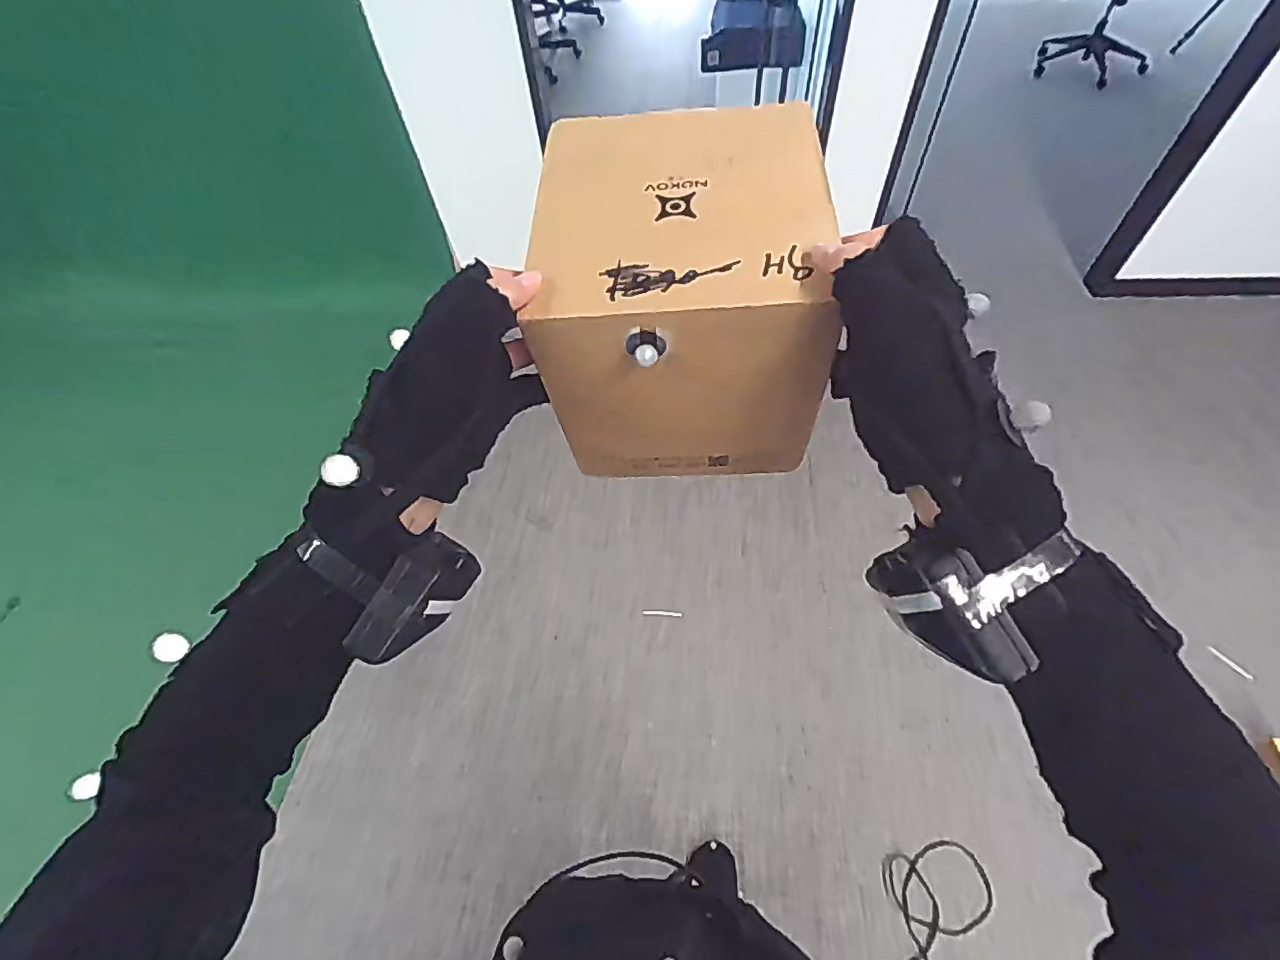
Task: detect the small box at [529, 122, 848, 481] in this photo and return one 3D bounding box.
[{"bbox_3d":[0.034,-0.116,0.384,0.168,0.176,0.179,-1,60,7],"label":"small box"}]
